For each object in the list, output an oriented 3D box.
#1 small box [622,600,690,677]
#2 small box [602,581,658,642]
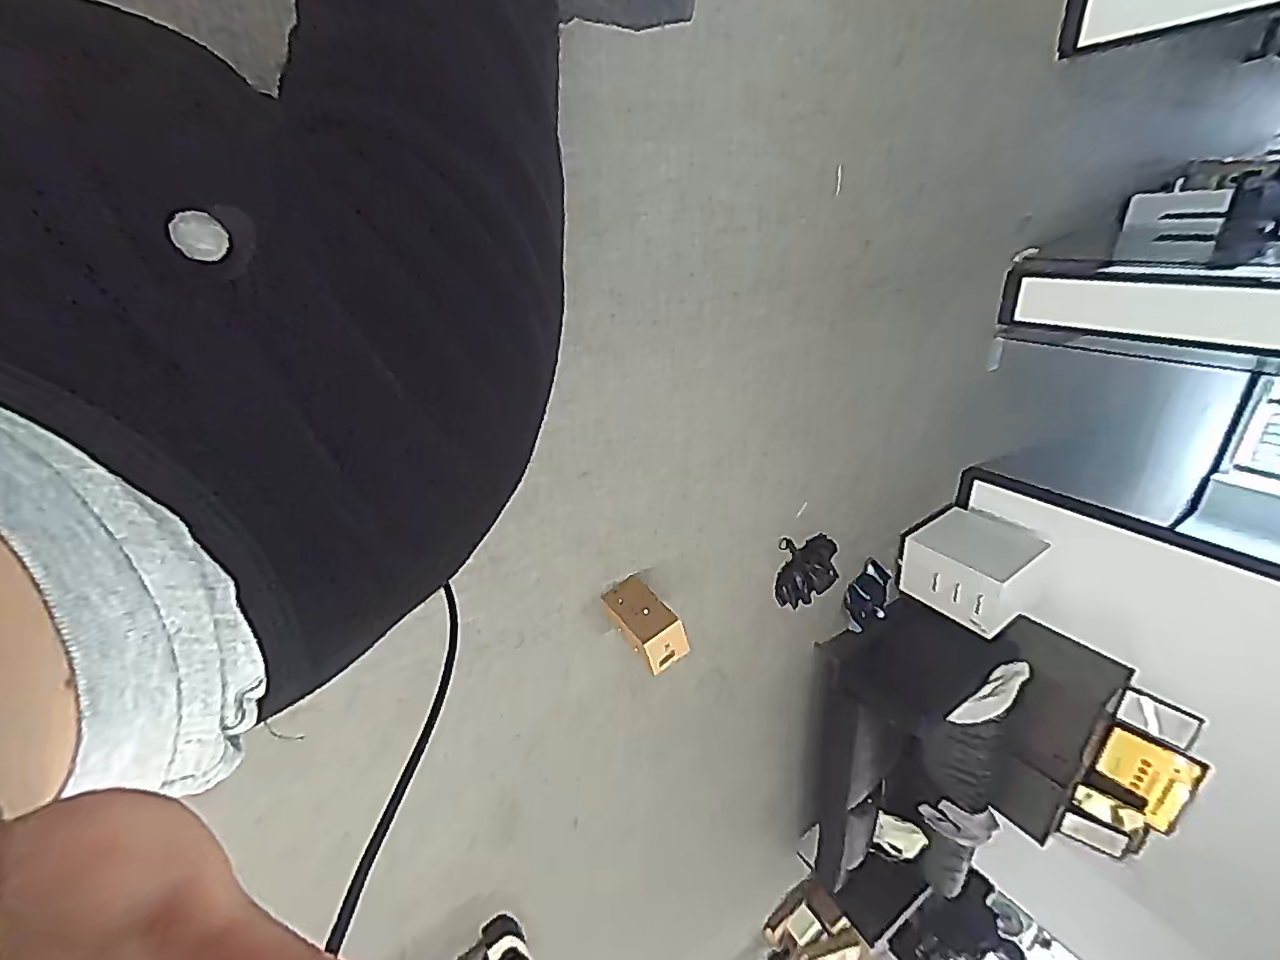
[{"bbox_3d":[0.056,0.578,1.997,0.168,0.176,0.179,-30,124,-20],"label":"small box"},{"bbox_3d":[-0.027,0.521,2.127,0.168,0.176,0.179,-31,126,-19],"label":"small box"}]
